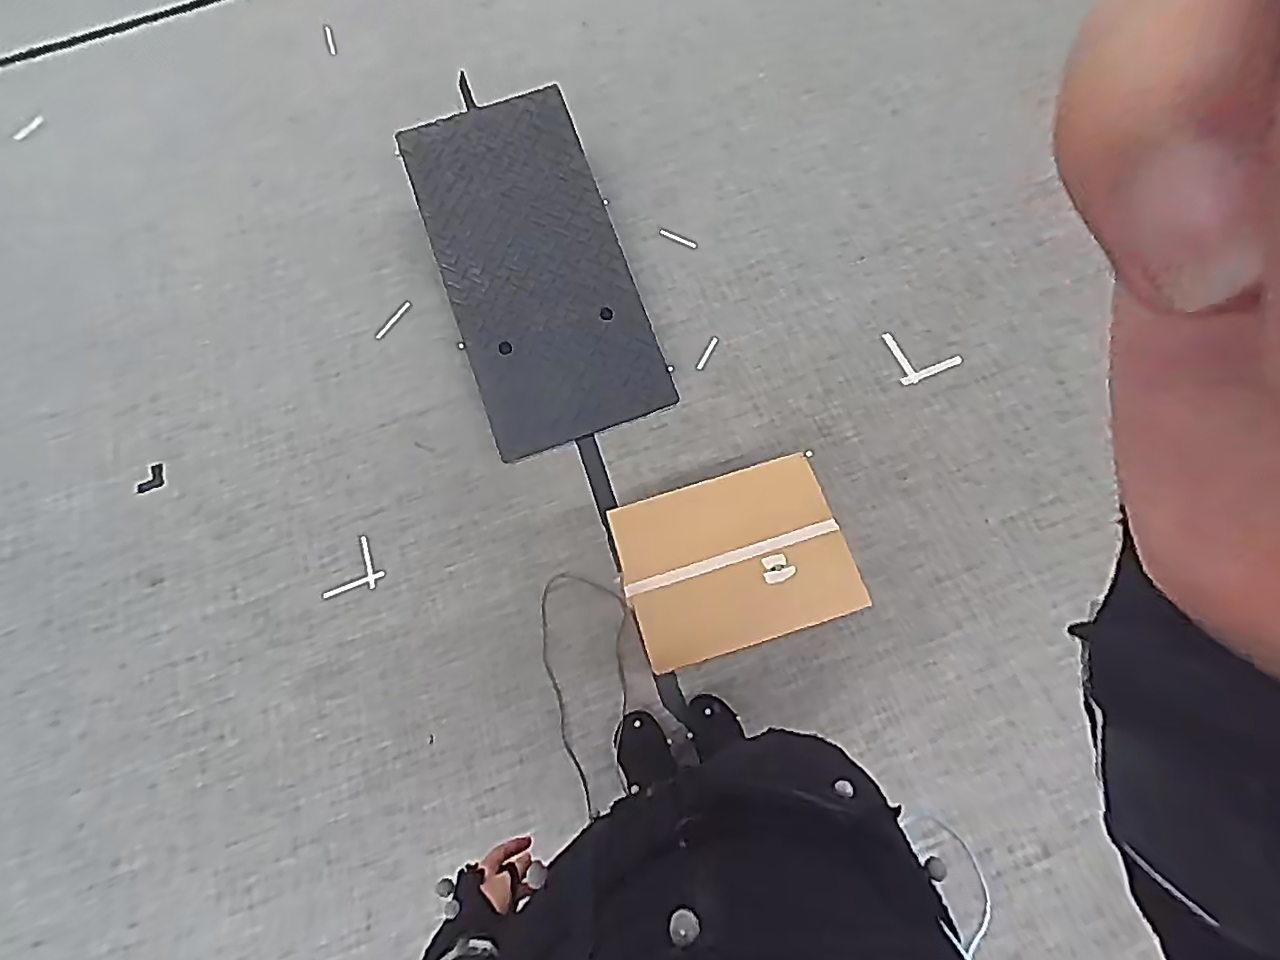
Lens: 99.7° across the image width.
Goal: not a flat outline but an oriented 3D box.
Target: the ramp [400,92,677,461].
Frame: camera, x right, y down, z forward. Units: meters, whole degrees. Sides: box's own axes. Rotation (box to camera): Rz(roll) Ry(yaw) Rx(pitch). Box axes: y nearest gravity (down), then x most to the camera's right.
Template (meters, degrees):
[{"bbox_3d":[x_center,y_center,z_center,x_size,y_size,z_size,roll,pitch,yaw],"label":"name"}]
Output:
[{"bbox_3d":[-0.289,-0.587,1.493,0.509,0.206,0.991,-21,72,-5],"label":"ramp"}]

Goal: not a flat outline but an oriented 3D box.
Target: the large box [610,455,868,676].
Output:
[{"bbox_3d":[0.180,0.196,1.134,0.408,0.320,0.320,-17,71,-3],"label":"large box"}]
